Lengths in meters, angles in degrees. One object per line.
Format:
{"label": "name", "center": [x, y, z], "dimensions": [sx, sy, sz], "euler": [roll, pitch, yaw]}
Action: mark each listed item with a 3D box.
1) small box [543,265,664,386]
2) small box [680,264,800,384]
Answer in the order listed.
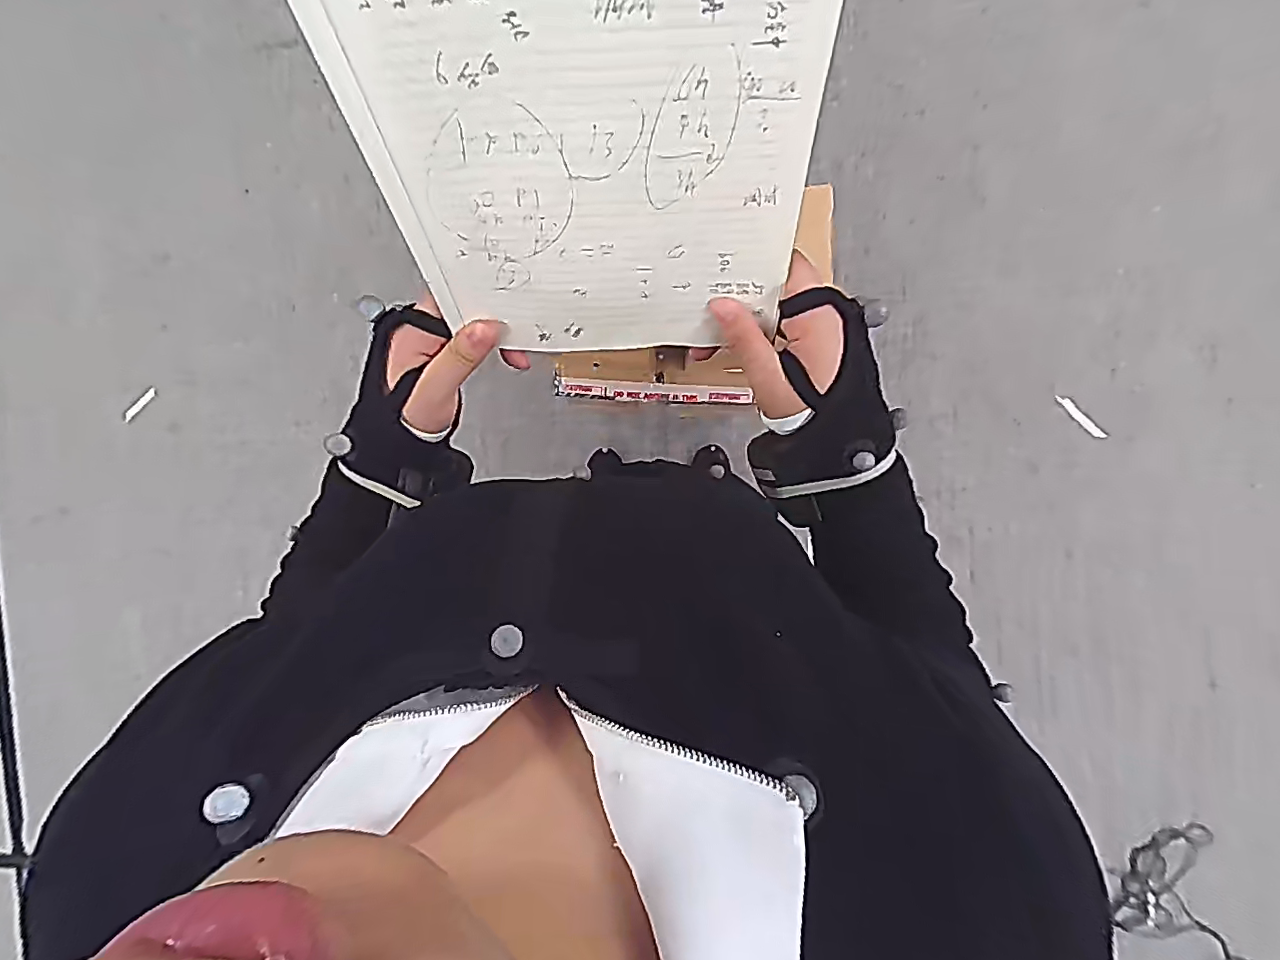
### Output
{"label": "small box", "center": [-0.055, -0.255, 0.930], "dimensions": [0.179, 0.176, 0.168], "euler": [7, 95, 5]}
{"label": "small box", "center": [0.162, -0.256, 0.918], "dimensions": [0.179, 0.176, 0.168], "euler": [-2, 94, 2]}
